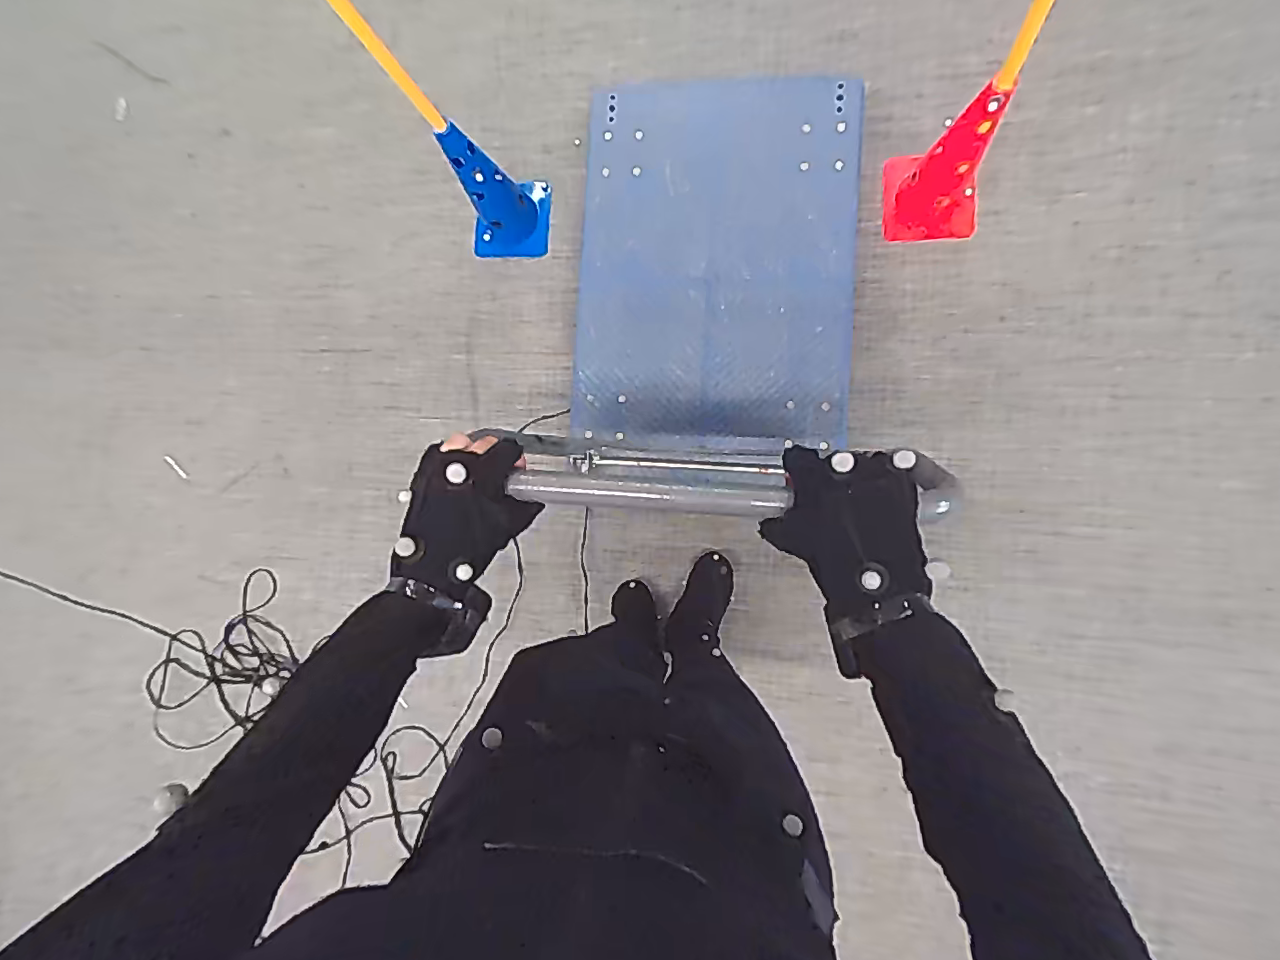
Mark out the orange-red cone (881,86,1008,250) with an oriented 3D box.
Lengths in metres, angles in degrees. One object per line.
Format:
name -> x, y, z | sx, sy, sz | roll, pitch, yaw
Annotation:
orange-red cone -> 0.636, -0.642, 1.091 | 0.199, 0.360, 0.198 | 3, 87, 11
